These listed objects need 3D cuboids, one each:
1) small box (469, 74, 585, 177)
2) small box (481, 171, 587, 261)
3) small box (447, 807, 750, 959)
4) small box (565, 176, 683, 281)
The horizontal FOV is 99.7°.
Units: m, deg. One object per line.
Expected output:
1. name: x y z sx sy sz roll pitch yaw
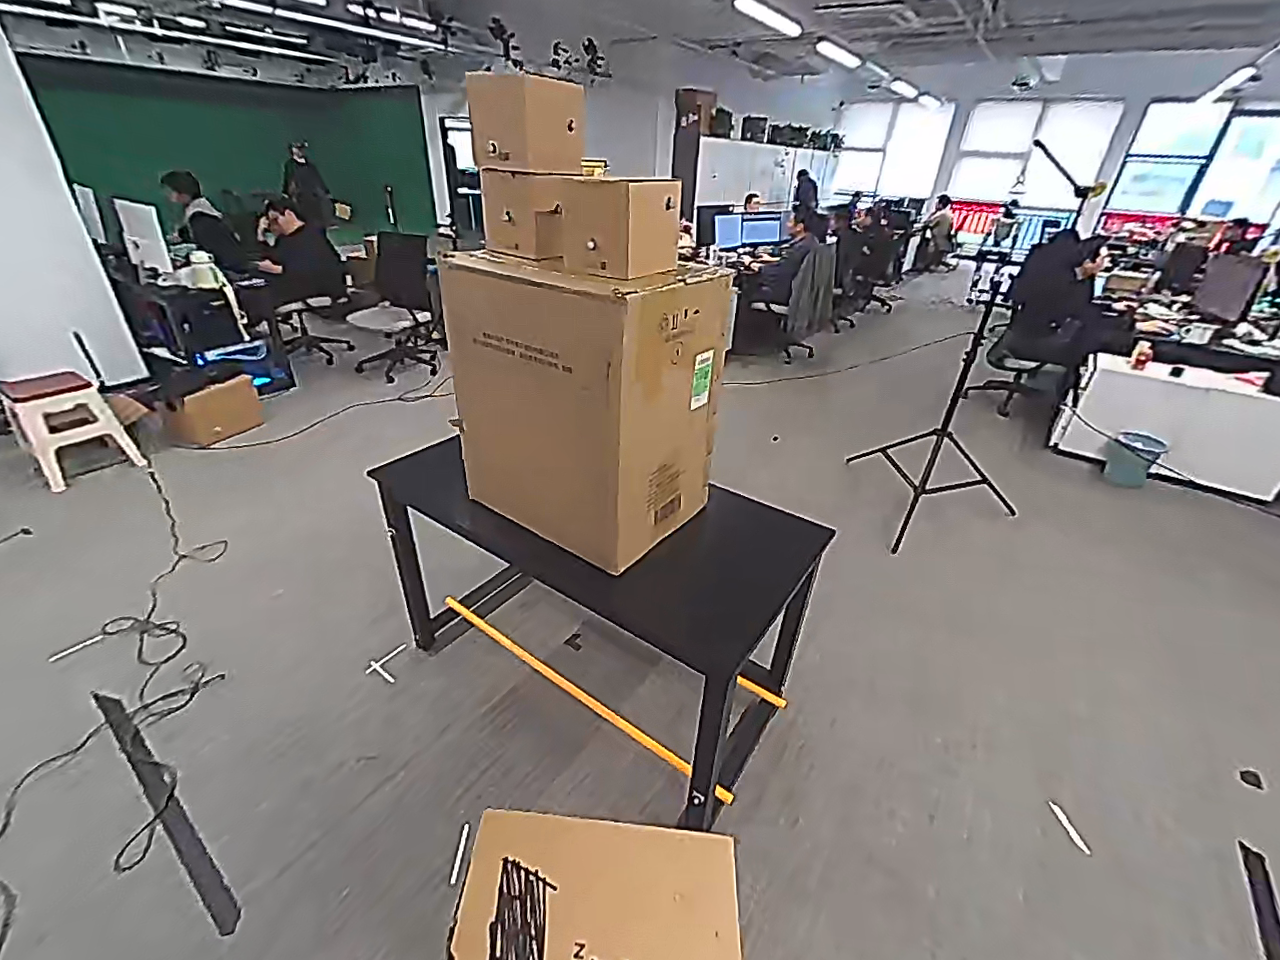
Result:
1. small box: -0.234 -0.741 1.142 0.168 0.176 0.179 21 35 28
2. small box: -0.234 -0.606 1.234 0.168 0.176 0.179 23 36 28
3. small box: -0.032 0.342 0.350 0.179 0.176 0.168 8 38 -2
4. small box: -0.033 -0.505 1.078 0.168 0.176 0.179 20 35 30
